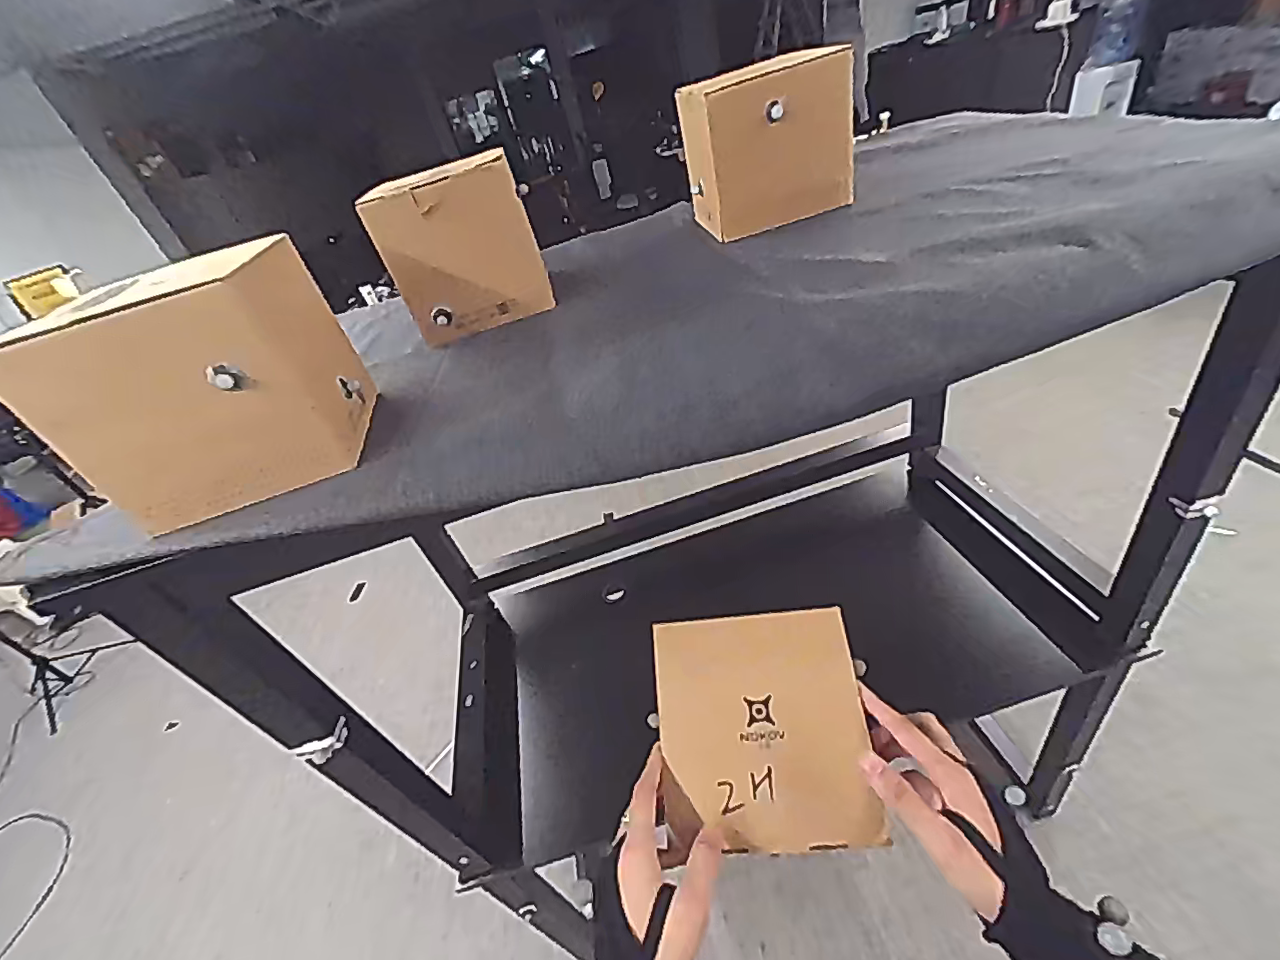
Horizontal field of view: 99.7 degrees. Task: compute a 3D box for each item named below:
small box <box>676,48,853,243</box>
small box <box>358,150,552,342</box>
[{"bbox_3d":[0.160,-0.436,0.711,0.179,0.176,0.168,-17,36,2],"label":"small box"},{"bbox_3d":[-0.217,-0.293,0.684,0.168,0.176,0.179,-19,36,-1],"label":"small box"}]
